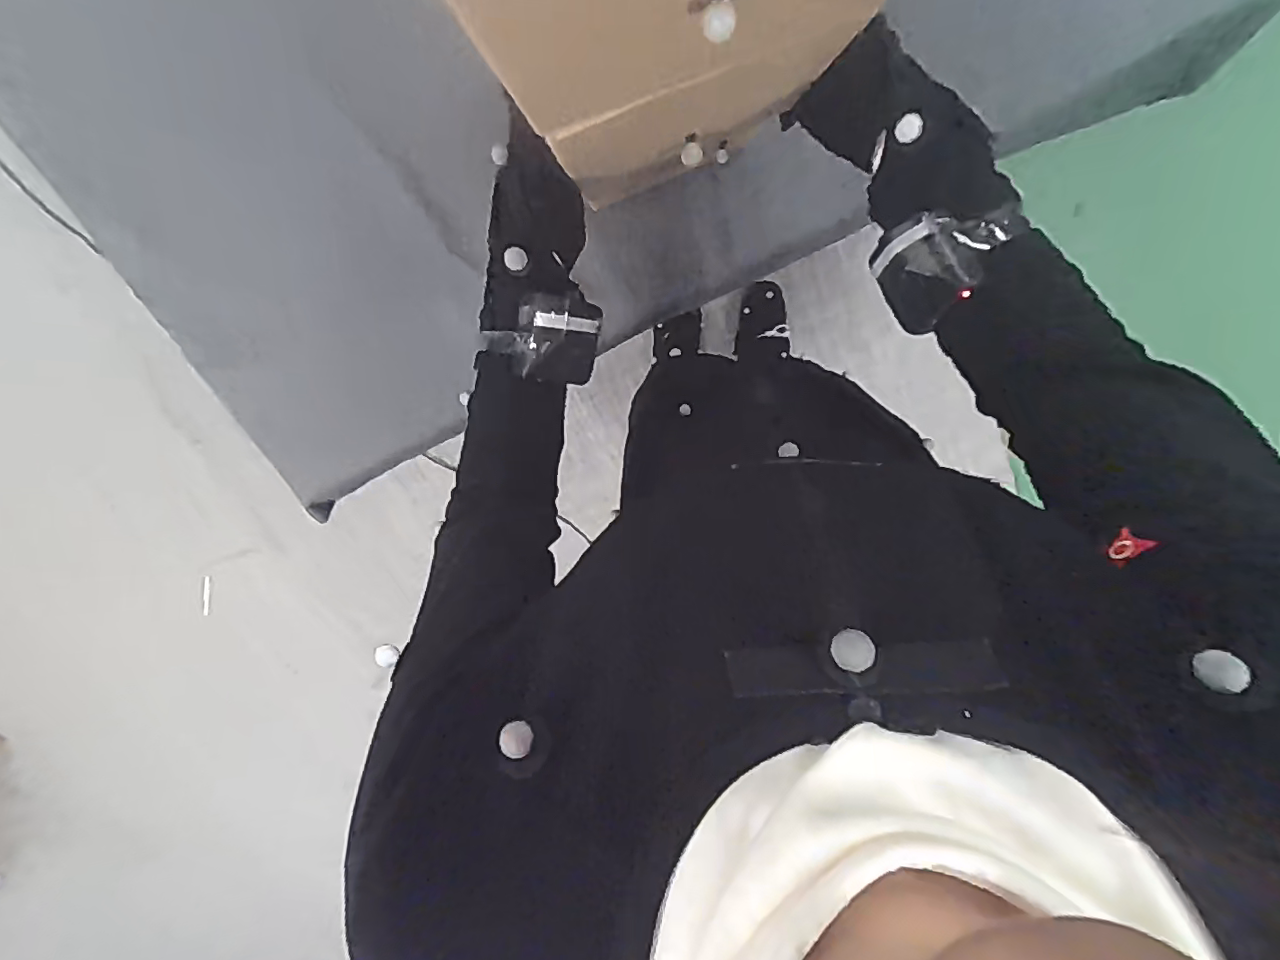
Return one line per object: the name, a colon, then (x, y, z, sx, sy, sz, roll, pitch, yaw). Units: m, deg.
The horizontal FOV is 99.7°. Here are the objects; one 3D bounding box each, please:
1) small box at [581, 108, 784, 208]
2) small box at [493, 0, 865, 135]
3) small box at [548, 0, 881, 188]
small box: (0.006, -0.361, 0.475, 0.179, 0.176, 0.168, -20, 109, 8)
small box: (0.013, -0.244, 0.169, 0.179, 0.176, 0.168, -21, 110, 5)
small box: (0.010, -0.300, 0.322, 0.179, 0.176, 0.168, -18, 108, 5)
